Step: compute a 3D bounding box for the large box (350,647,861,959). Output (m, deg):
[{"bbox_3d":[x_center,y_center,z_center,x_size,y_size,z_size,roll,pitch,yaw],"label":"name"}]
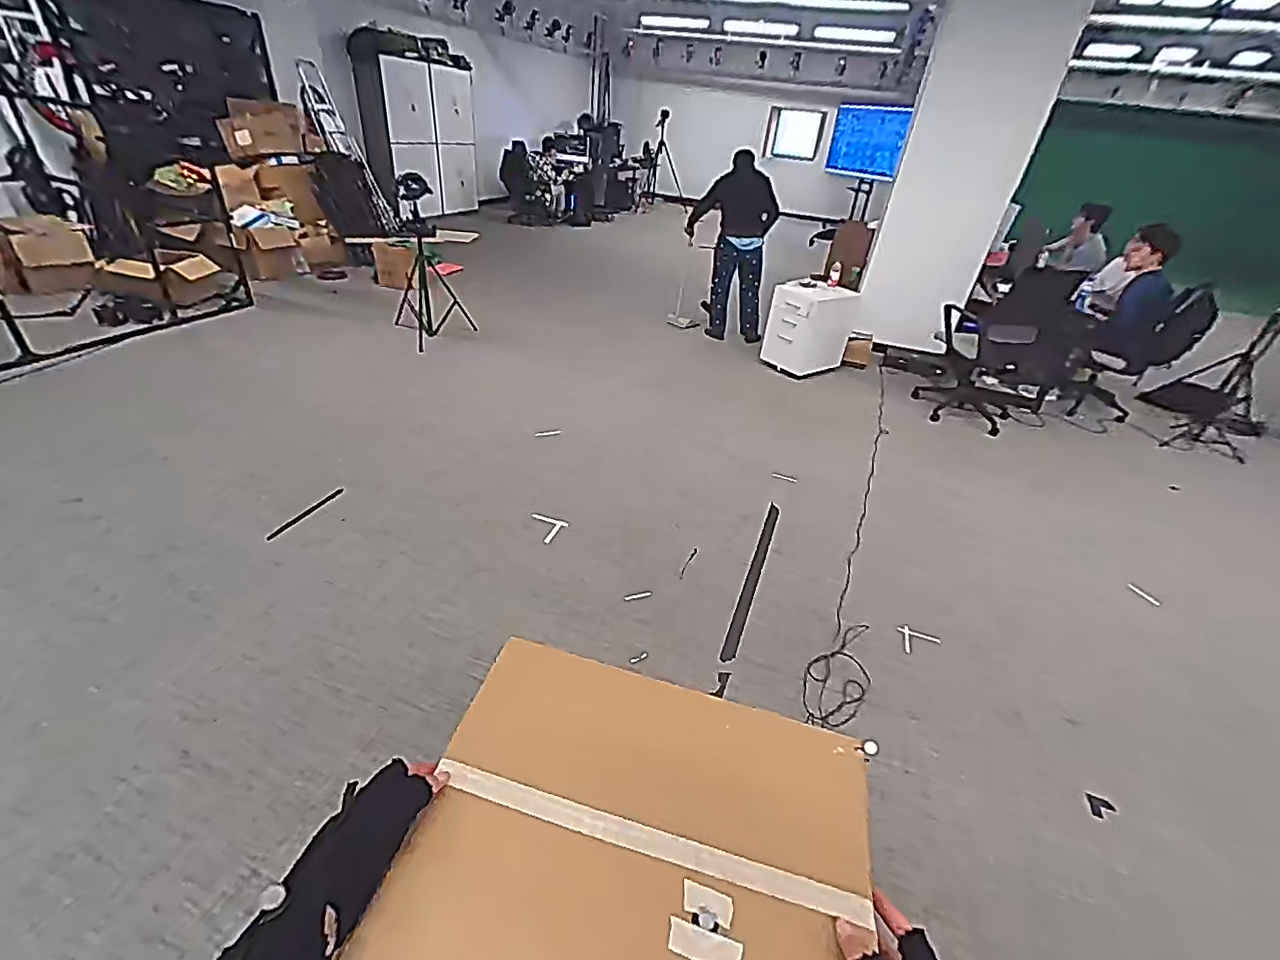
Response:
[{"bbox_3d":[-0.014,0.445,0.593,0.408,0.320,0.320,14,40,9],"label":"large box"}]
